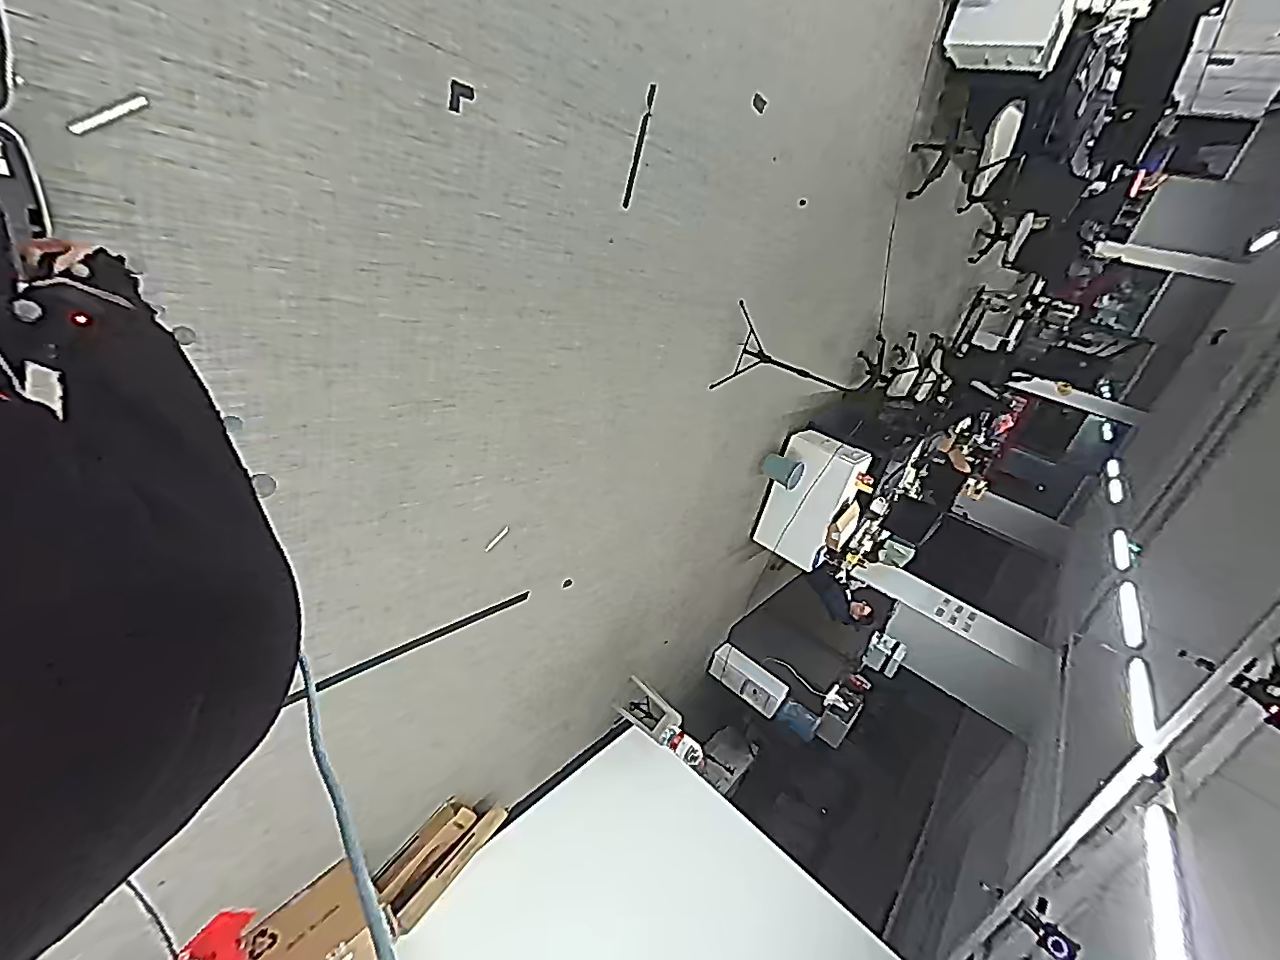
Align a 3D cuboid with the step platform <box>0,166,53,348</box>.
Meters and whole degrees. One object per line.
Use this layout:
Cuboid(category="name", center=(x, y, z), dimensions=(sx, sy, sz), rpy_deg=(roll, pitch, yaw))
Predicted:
Cuboid(category="step platform", center=(-1.263, -0.352, 0.699), dimensions=(0.684, 0.204, 0.286), rpy_deg=(-9, 121, -51))
